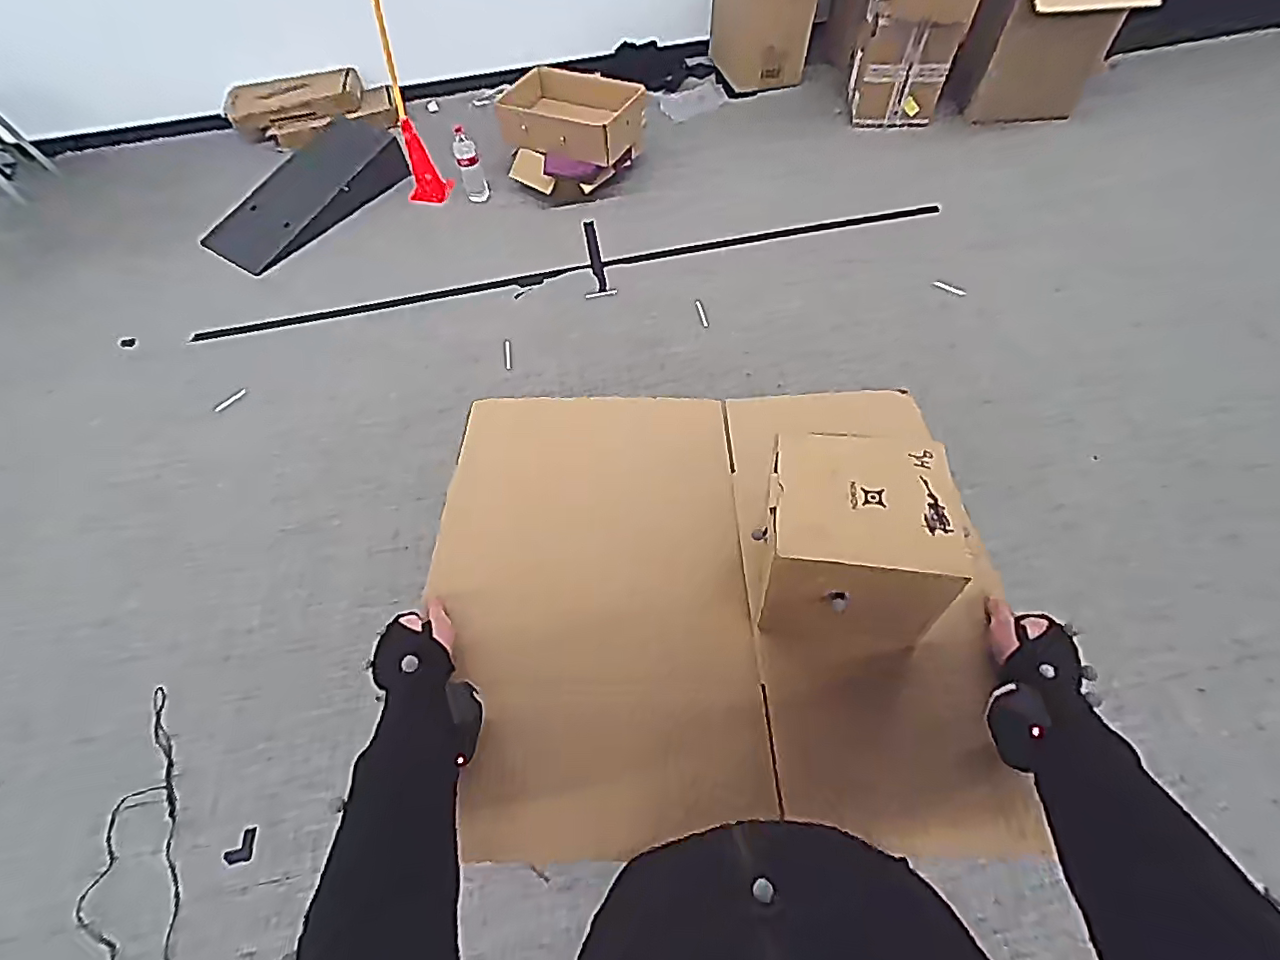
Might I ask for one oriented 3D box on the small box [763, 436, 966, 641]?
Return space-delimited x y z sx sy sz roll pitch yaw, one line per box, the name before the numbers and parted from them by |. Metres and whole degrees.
small box | 0.234 0.069 0.615 0.179 0.176 0.168 4 53 11
